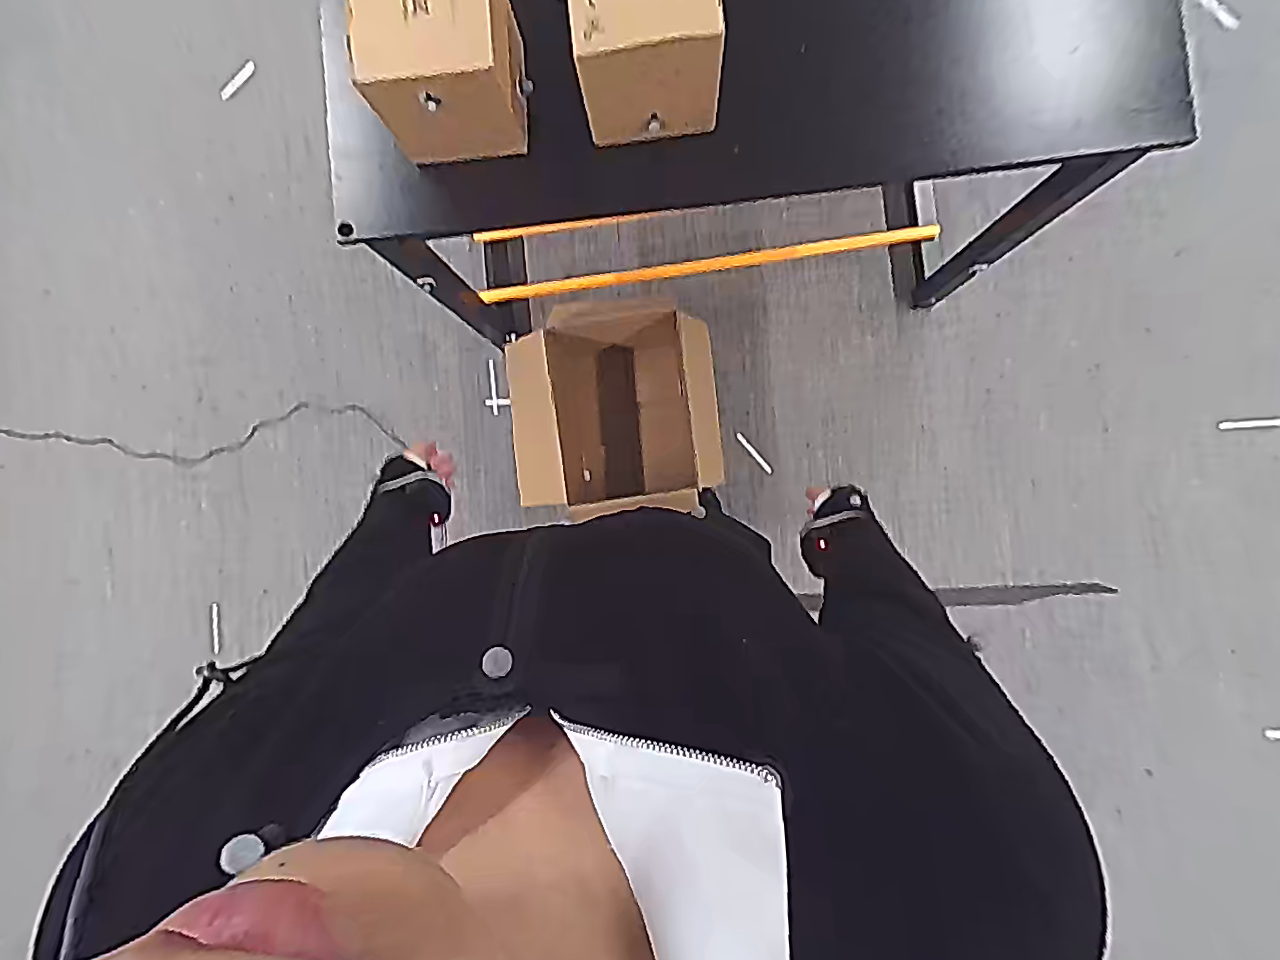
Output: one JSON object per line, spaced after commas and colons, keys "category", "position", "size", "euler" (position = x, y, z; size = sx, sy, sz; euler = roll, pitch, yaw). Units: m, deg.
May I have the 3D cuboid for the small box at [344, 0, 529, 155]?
{"category": "small box", "position": [-0.255, -0.554, 0.705], "size": [0.179, 0.176, 0.168], "euler": [-4, 90, 2]}

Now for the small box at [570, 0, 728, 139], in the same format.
{"category": "small box", "position": [0.008, -0.572, 0.689], "size": [0.179, 0.176, 0.168], "euler": [-6, 89, 3]}
